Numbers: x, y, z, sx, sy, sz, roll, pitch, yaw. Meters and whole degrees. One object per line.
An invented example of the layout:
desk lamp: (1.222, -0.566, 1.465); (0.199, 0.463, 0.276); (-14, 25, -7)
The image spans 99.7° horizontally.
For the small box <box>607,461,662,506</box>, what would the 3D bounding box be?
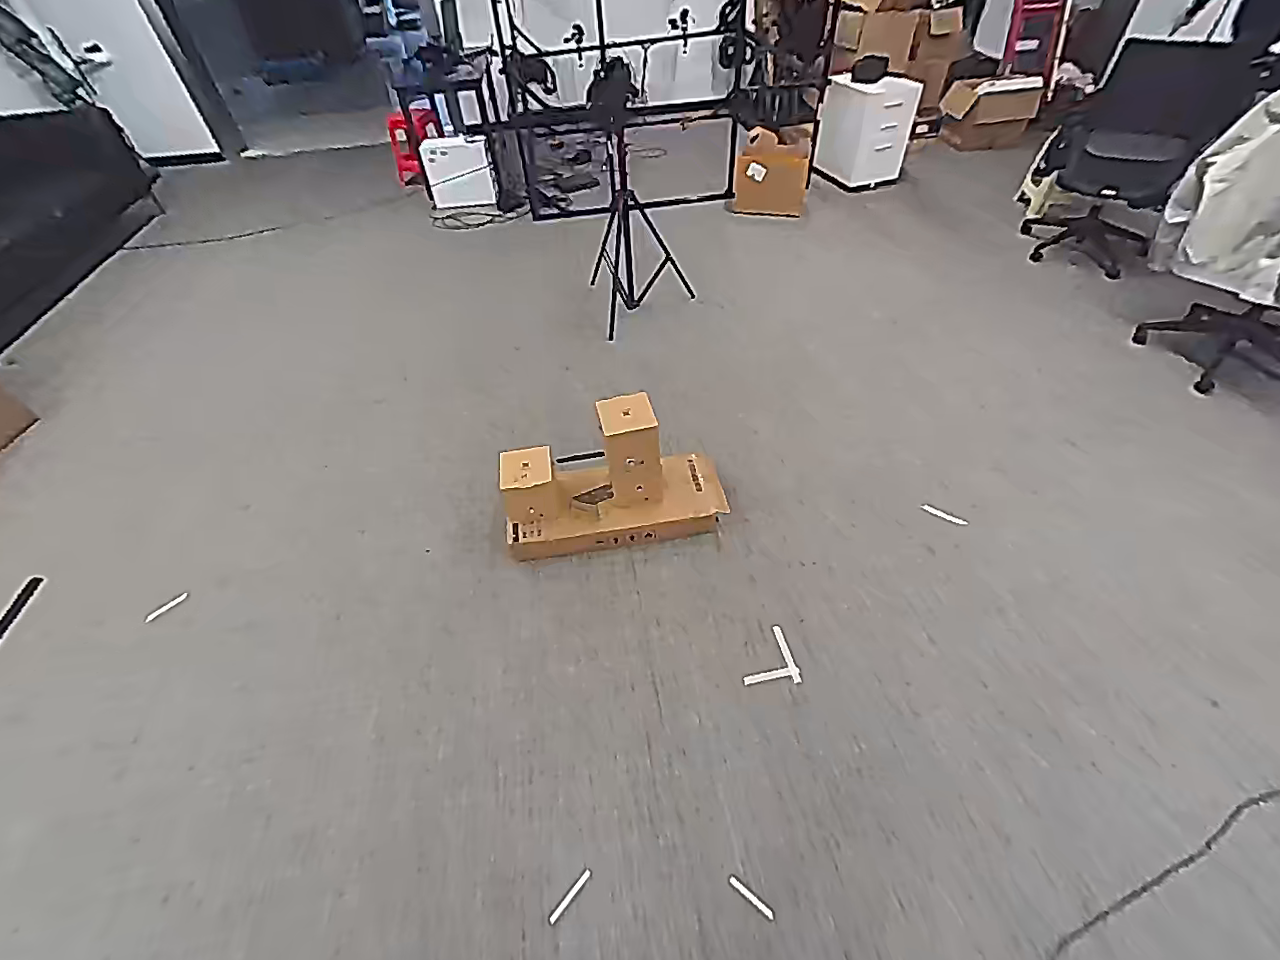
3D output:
small box: (-0.021, -0.029, 1.830); (0.168, 0.176, 0.179); (-10, 47, -6)

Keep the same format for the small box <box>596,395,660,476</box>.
small box: (-0.039, -0.141, 1.711); (0.168, 0.176, 0.179); (-13, 47, -7)
